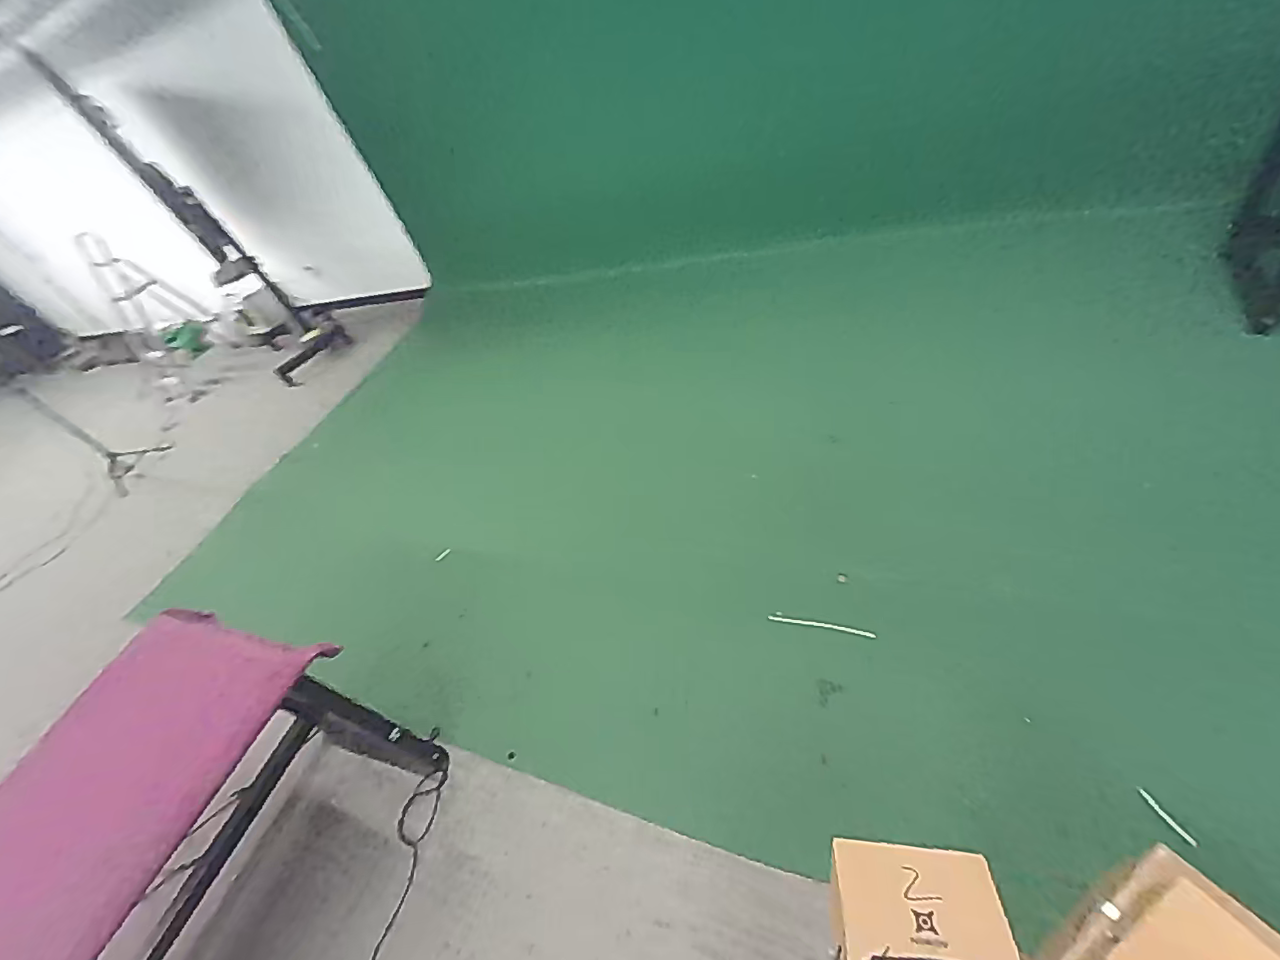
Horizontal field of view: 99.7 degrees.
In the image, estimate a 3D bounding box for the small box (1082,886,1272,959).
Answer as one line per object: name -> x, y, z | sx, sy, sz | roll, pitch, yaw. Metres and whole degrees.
small box -> 0.782, 0.725, 0.770 | 0.179, 0.176, 0.168 | -36, 46, -10
